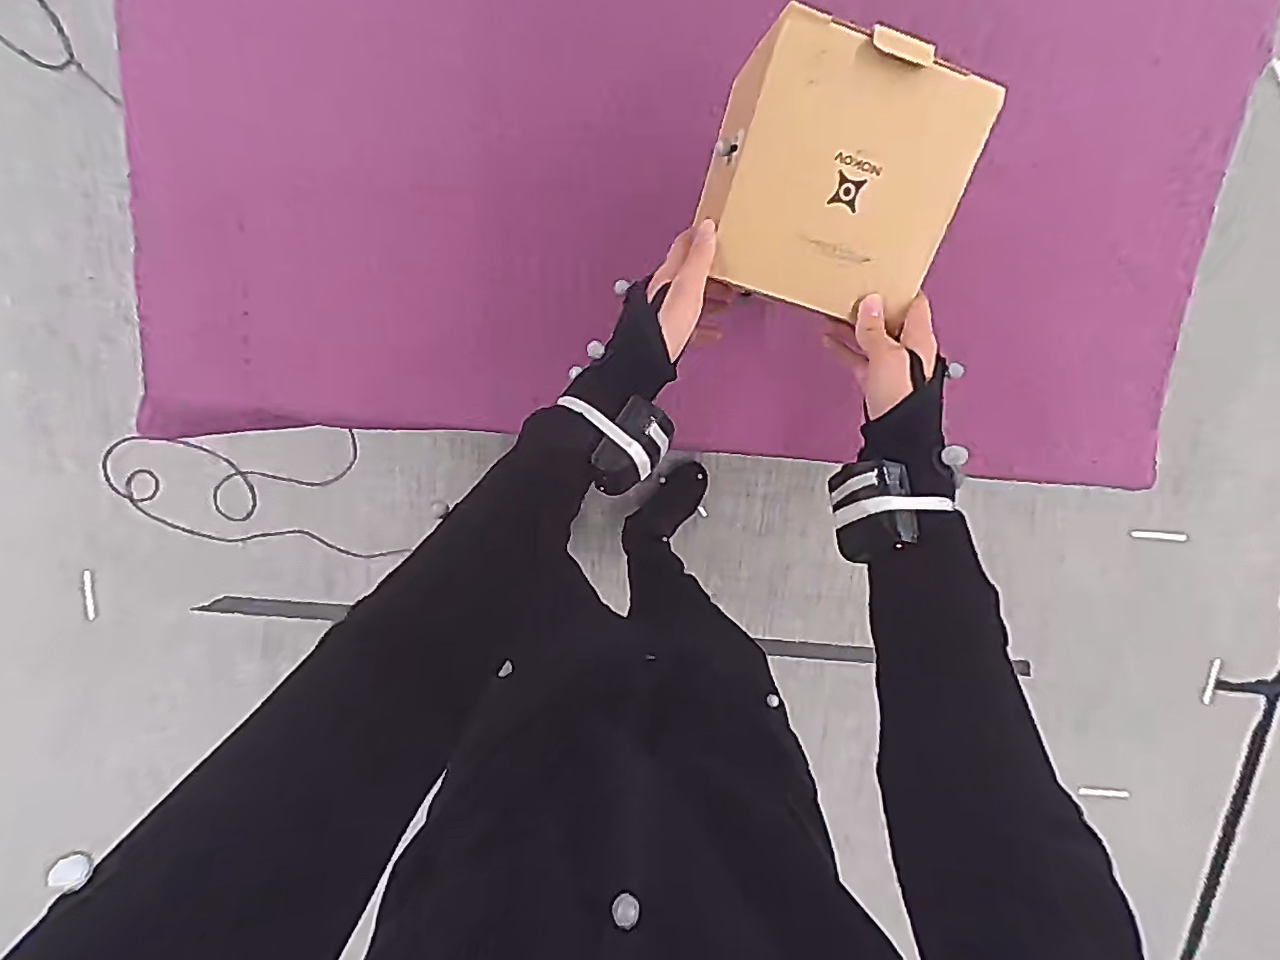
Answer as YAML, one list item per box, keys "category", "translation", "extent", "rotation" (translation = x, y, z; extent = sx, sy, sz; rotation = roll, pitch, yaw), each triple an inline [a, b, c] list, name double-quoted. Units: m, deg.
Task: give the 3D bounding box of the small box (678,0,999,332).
- category: "small box"
  translation: [0.138, -0.241, 0.454]
  extent: [0.168, 0.176, 0.179]
  rotation: [15, 110, -8]
